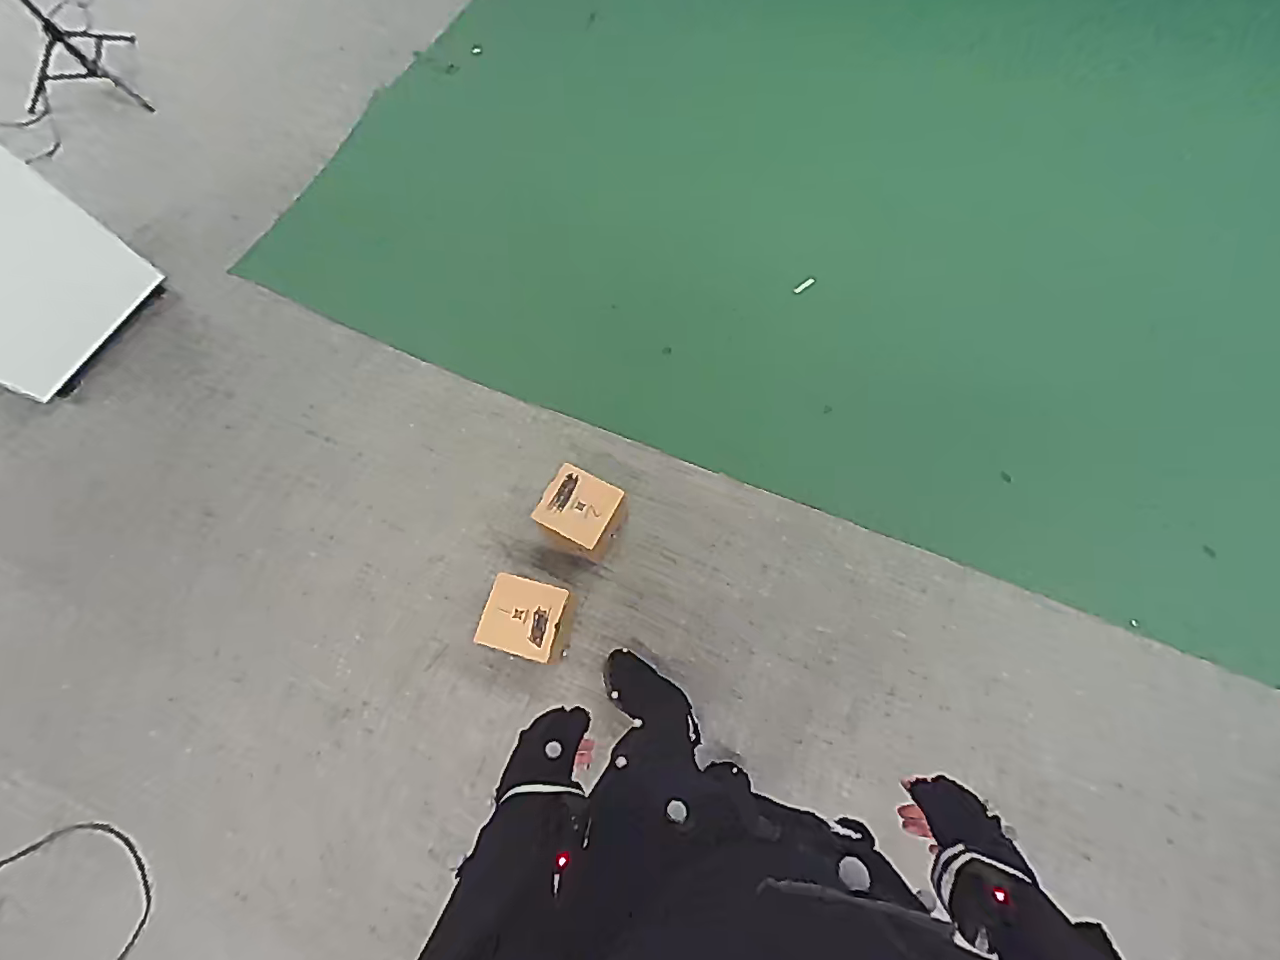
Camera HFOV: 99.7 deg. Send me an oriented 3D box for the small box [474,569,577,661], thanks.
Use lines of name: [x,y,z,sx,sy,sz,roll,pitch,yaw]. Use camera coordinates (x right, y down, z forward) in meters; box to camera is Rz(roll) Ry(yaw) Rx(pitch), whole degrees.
small box: [-0.260,0.326,1.287,0.179,0.176,0.168,14,70,8]
